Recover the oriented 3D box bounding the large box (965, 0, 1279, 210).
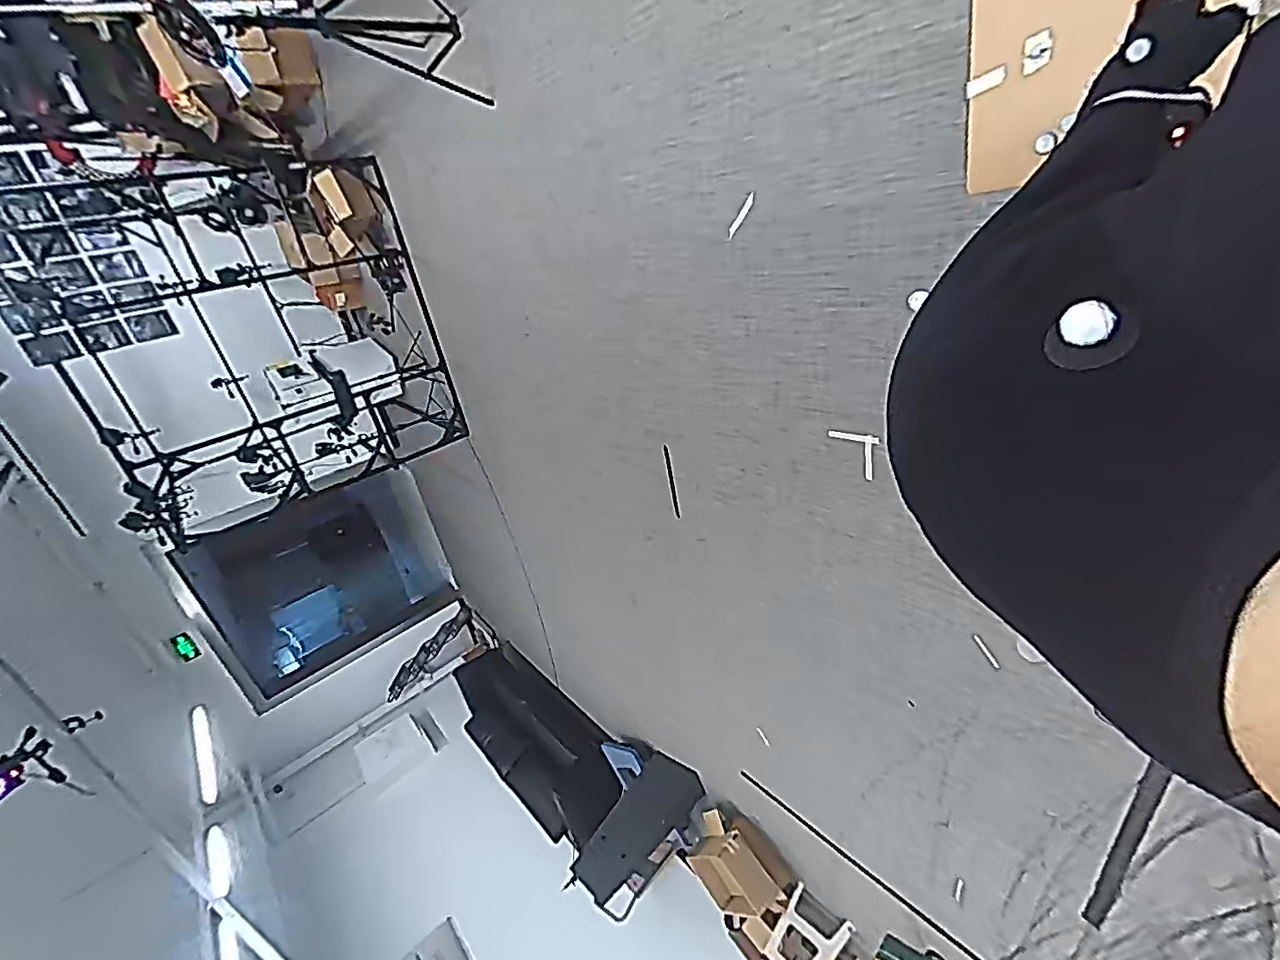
[{"bbox_3d":[0.768,-0.663,0.872,0.320,0.408,0.320,16,129,47],"label":"large box"}]
